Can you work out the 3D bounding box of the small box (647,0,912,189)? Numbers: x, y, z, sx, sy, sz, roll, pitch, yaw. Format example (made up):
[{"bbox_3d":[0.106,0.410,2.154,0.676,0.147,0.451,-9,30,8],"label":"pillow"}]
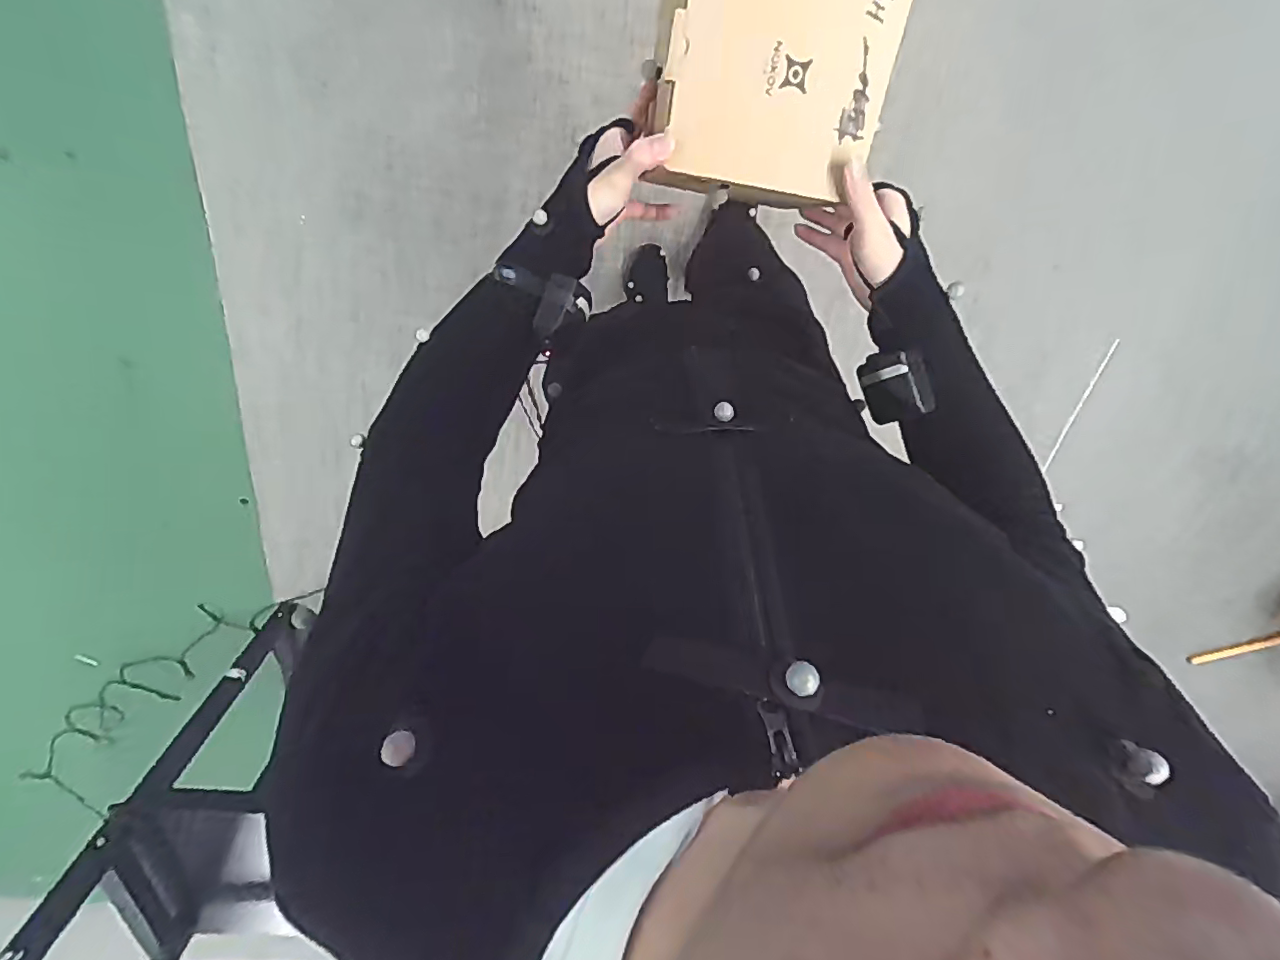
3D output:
[{"bbox_3d":[0.107,-0.367,0.485,0.179,0.176,0.168,5,115,-9],"label":"small box"}]
